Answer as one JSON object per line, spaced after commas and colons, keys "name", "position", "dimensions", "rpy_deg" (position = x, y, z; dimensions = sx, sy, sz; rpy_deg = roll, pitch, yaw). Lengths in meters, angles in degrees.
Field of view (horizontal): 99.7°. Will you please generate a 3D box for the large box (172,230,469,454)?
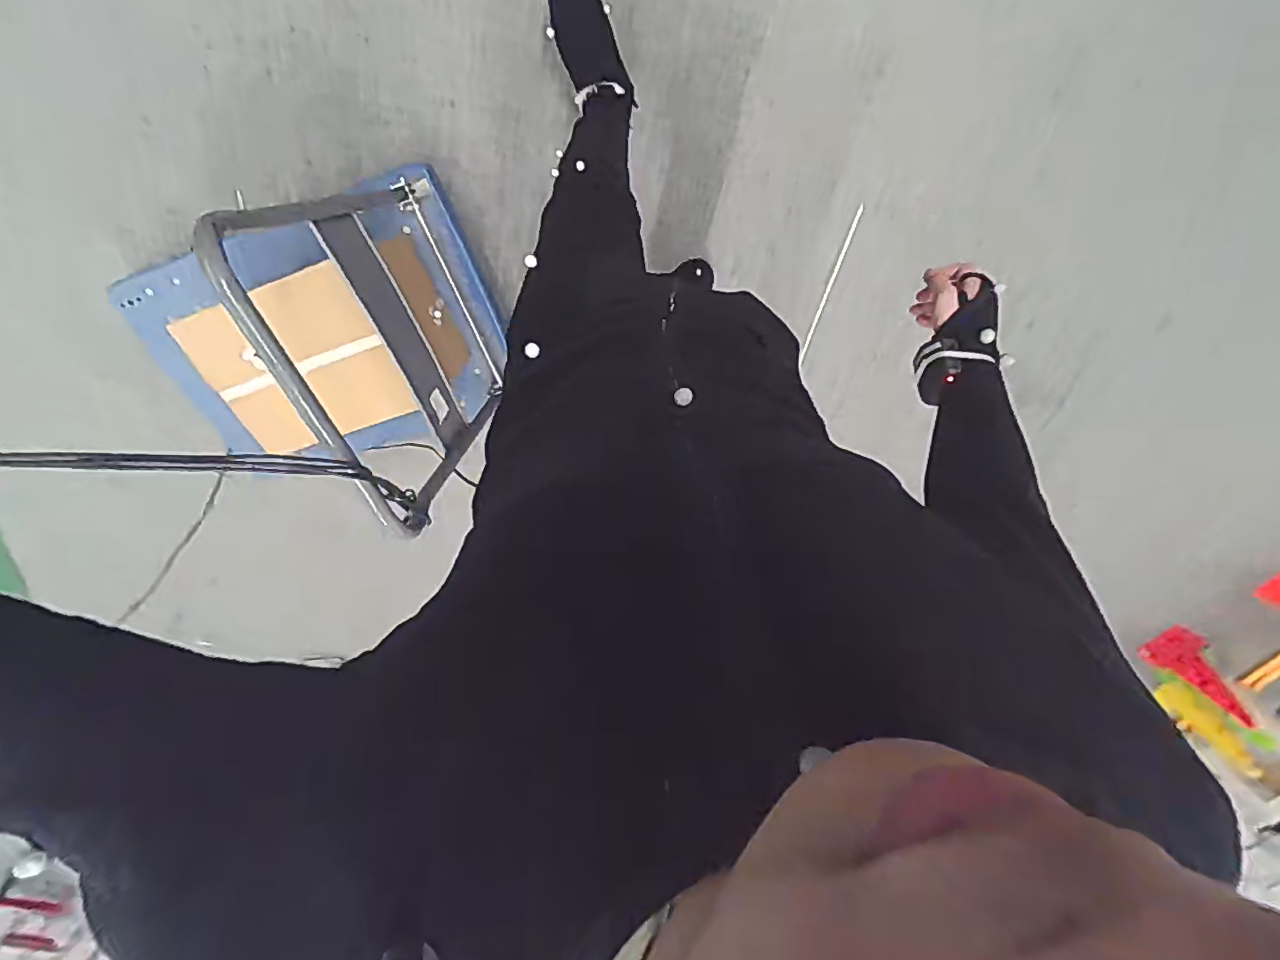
{"name": "large box", "position": [-0.663, -0.310, 1.199], "dimensions": [0.408, 0.320, 0.320], "rpy_deg": [-15, 120, 11]}
